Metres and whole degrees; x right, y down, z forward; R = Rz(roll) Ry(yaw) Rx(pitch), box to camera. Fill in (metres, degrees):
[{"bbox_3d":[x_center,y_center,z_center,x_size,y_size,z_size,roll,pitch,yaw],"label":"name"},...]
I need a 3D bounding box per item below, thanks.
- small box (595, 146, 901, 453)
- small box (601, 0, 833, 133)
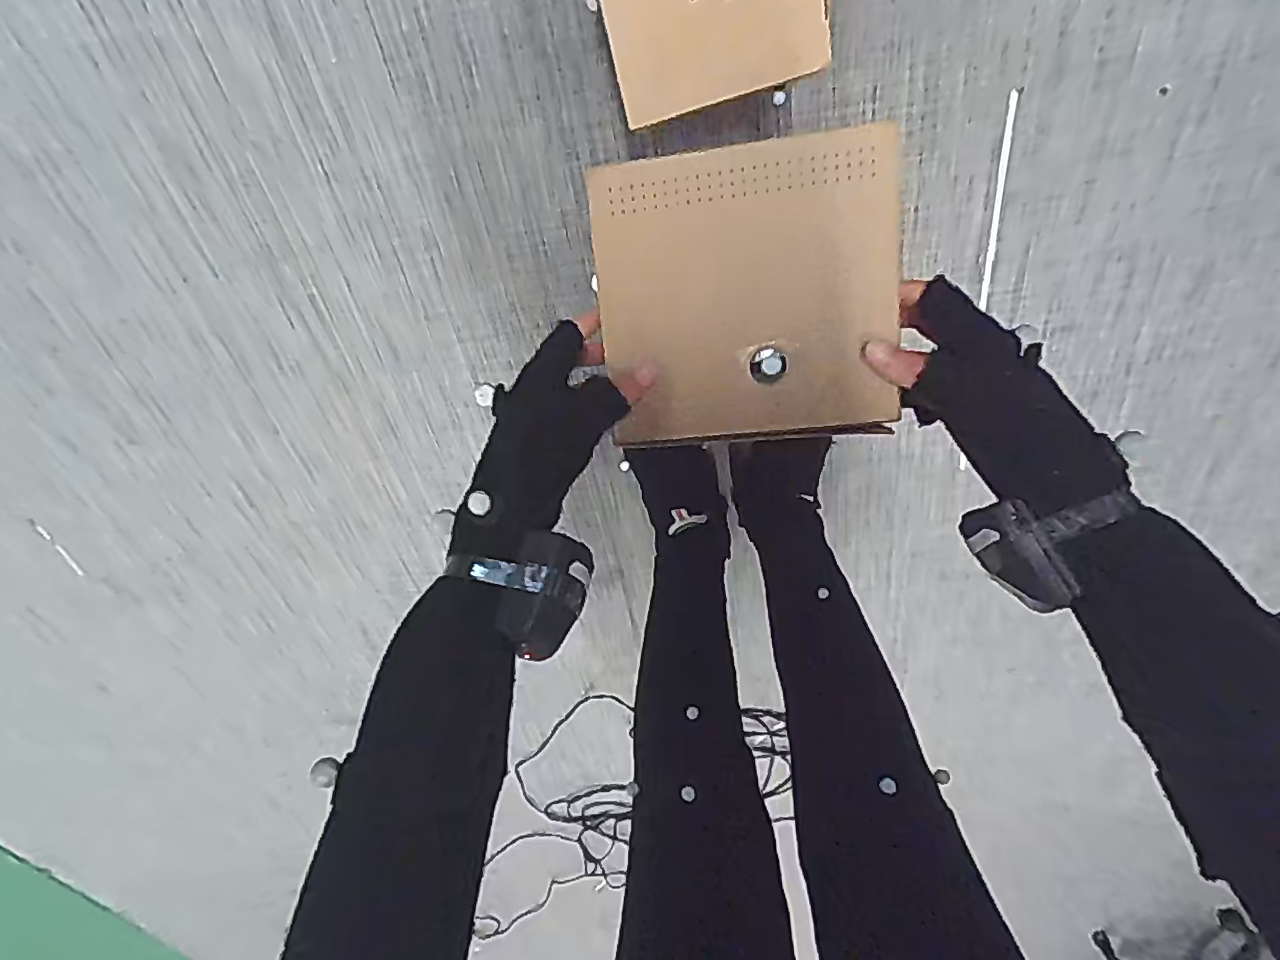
[{"bbox_3d":[0.074,-0.123,0.399,0.179,0.168,0.176,-4,101,7],"label":"small box"},{"bbox_3d":[0.058,-0.430,0.487,0.179,0.176,0.168,-13,120,9],"label":"small box"}]
